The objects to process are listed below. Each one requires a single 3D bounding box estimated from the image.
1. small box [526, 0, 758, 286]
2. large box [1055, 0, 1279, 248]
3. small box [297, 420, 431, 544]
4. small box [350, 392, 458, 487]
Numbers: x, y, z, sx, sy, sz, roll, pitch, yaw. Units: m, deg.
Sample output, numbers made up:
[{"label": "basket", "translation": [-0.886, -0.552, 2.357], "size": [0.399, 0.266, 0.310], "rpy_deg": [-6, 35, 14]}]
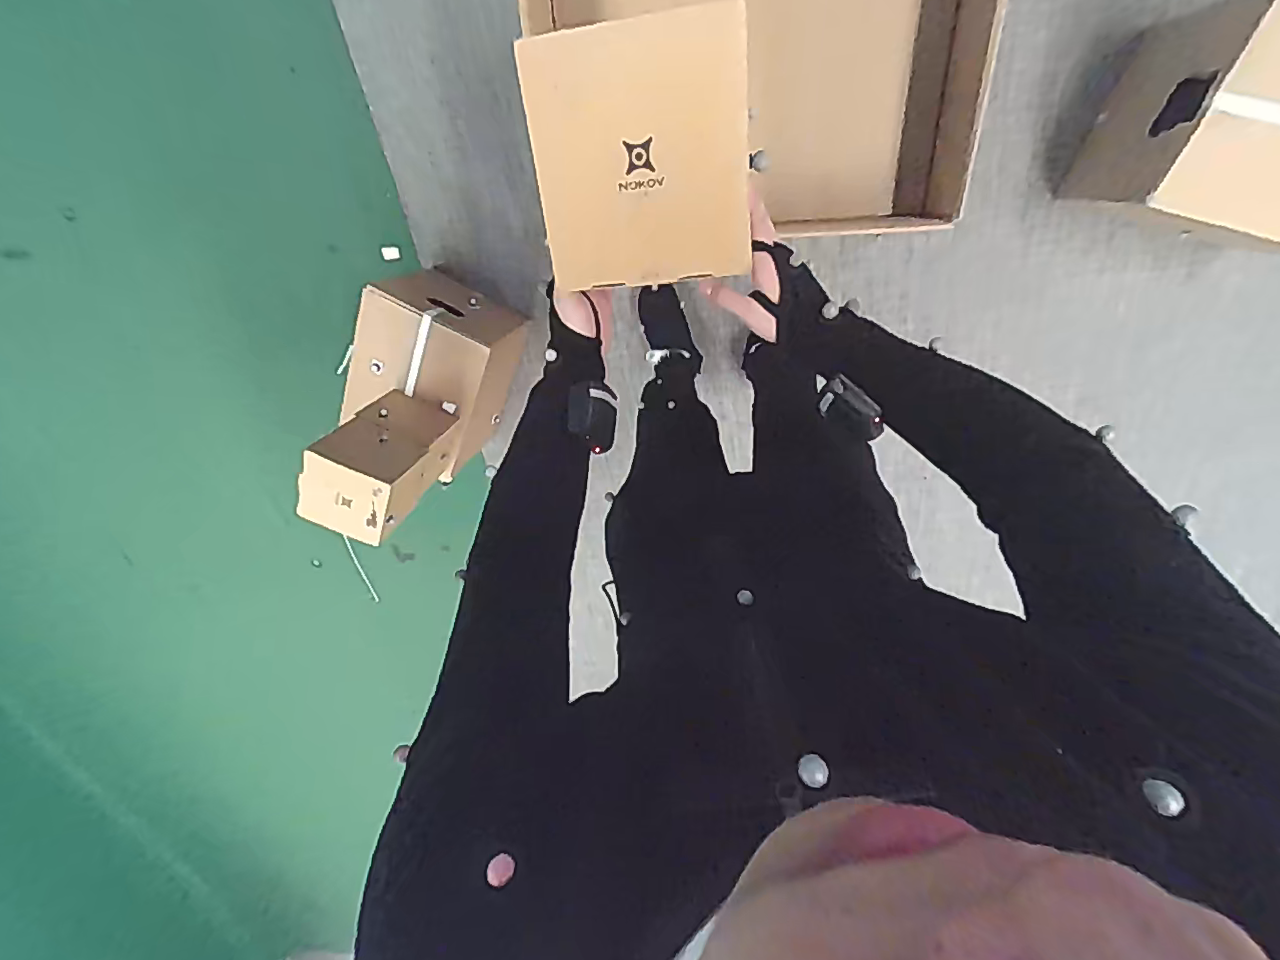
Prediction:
[{"label": "small box", "translation": [0.015, -0.283, 0.481], "size": [0.168, 0.176, 0.179], "rpy_deg": [-2, 120, 10]}, {"label": "large box", "translation": [1.114, -0.627, 0.988], "size": [0.408, 0.320, 0.320], "rpy_deg": [16, 119, 1]}, {"label": "small box", "translation": [-0.568, -0.004, 1.124], "size": [0.179, 0.176, 0.168], "rpy_deg": [25, 119, -5]}, {"label": "small box", "translation": [-0.557, -0.087, 1.265], "size": [0.179, 0.176, 0.168], "rpy_deg": [24, 120, -6]}]
